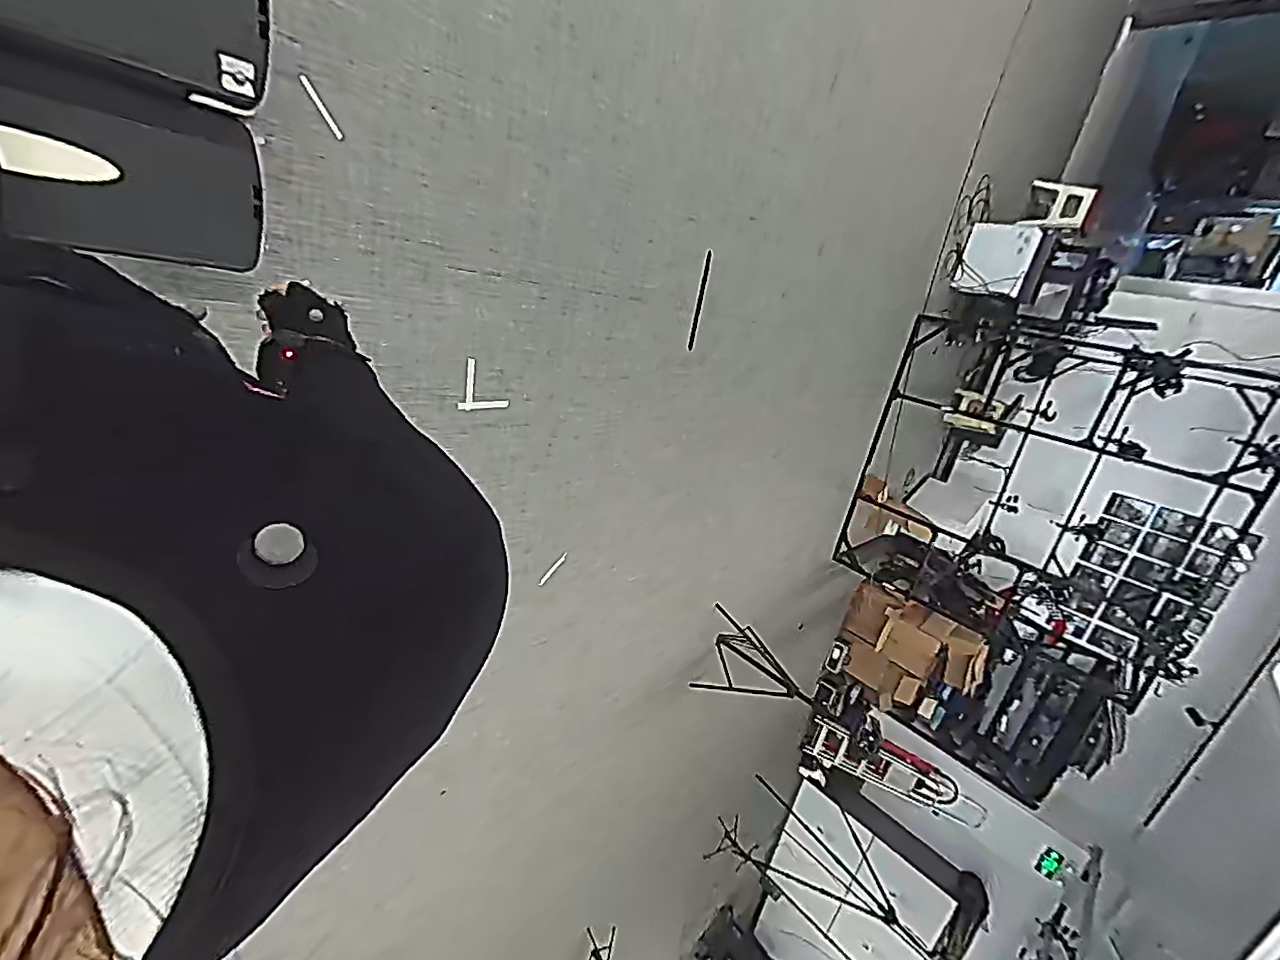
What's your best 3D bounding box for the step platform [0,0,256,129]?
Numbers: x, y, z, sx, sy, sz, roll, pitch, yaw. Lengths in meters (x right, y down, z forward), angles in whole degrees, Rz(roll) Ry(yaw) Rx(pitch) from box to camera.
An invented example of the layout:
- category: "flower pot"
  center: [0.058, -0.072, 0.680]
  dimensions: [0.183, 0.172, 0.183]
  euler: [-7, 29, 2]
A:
- category: "step platform"
  center: [-0.942, -0.745, 0.736]
  dimensions: [0.684, 0.204, 0.286]
  euler: [-10, 120, -46]
